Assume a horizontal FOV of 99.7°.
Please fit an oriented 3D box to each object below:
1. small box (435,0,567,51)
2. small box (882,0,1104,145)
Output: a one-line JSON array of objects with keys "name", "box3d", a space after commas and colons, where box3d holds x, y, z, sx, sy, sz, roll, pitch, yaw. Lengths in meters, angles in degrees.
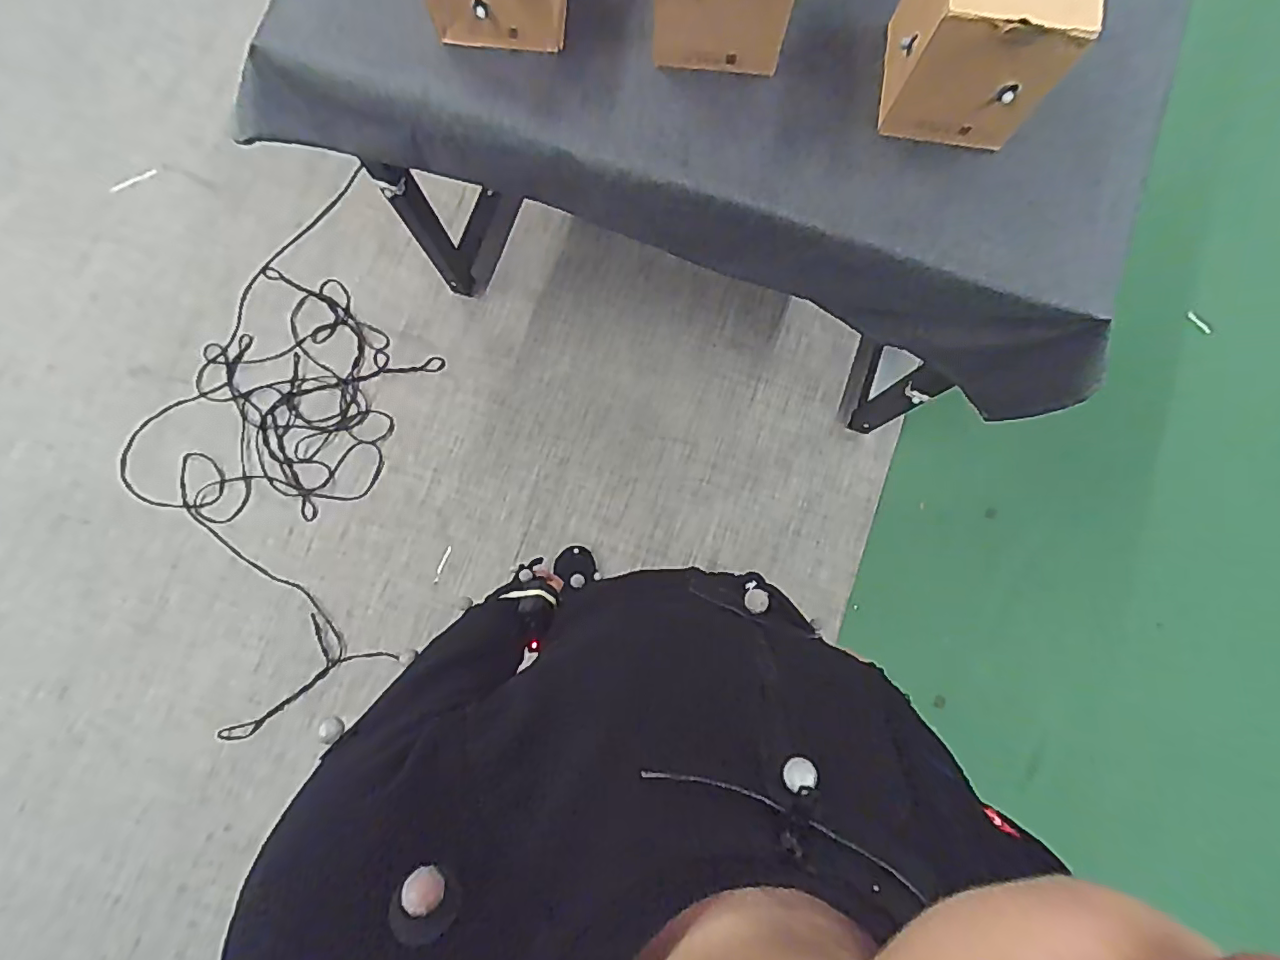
[{"name": "small box", "box3d": [-0.180, -0.690, 0.672, 0.168, 0.176, 0.179, 4, 82, 0]}, {"name": "small box", "box3d": [0.413, -0.549, 0.655, 0.168, 0.176, 0.179, 9, 81, 0]}]
